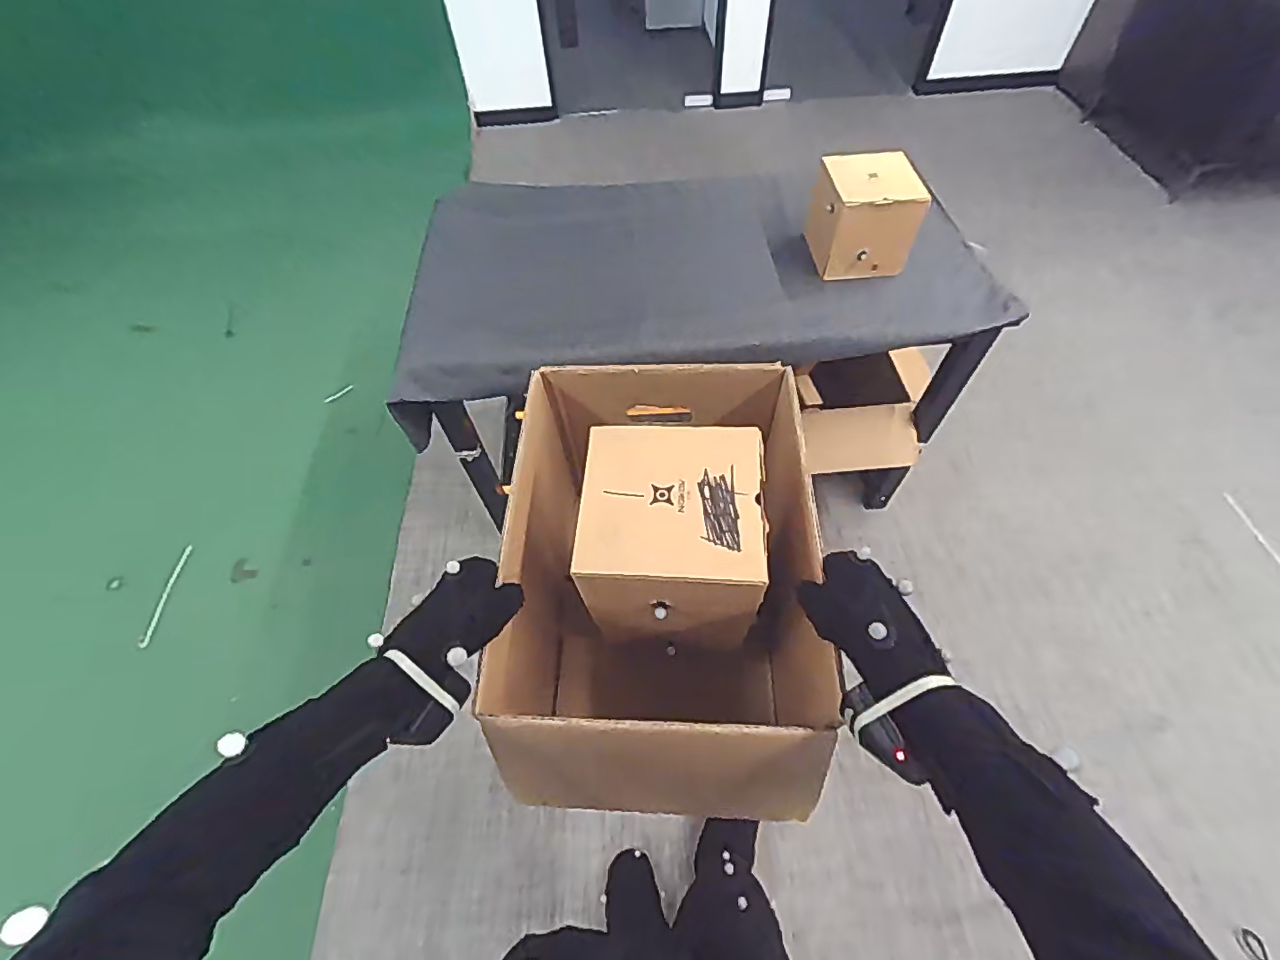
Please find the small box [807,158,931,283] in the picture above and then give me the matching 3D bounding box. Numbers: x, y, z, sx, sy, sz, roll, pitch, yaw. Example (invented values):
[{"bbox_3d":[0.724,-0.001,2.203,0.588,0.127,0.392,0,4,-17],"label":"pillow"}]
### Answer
[{"bbox_3d":[0.455,-0.530,1.109,0.168,0.176,0.179,-4,56,0],"label":"small box"}]
